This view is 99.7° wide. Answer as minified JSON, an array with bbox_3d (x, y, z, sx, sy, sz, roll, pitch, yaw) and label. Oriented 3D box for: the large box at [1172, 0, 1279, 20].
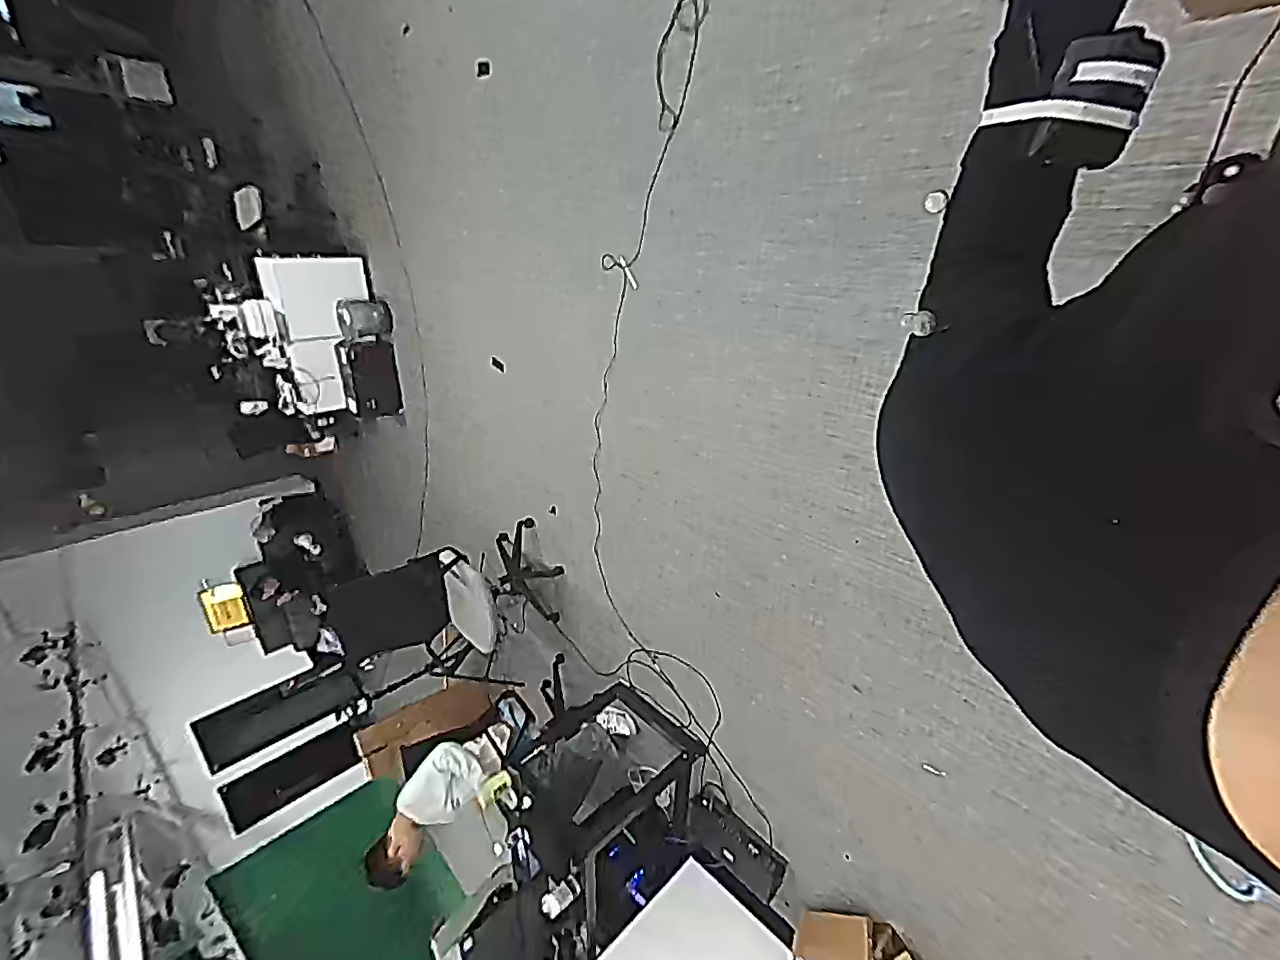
[{"bbox_3d":[0.514,-0.443,0.206,0.408,0.320,0.320,20,128,40],"label":"large box"}]
